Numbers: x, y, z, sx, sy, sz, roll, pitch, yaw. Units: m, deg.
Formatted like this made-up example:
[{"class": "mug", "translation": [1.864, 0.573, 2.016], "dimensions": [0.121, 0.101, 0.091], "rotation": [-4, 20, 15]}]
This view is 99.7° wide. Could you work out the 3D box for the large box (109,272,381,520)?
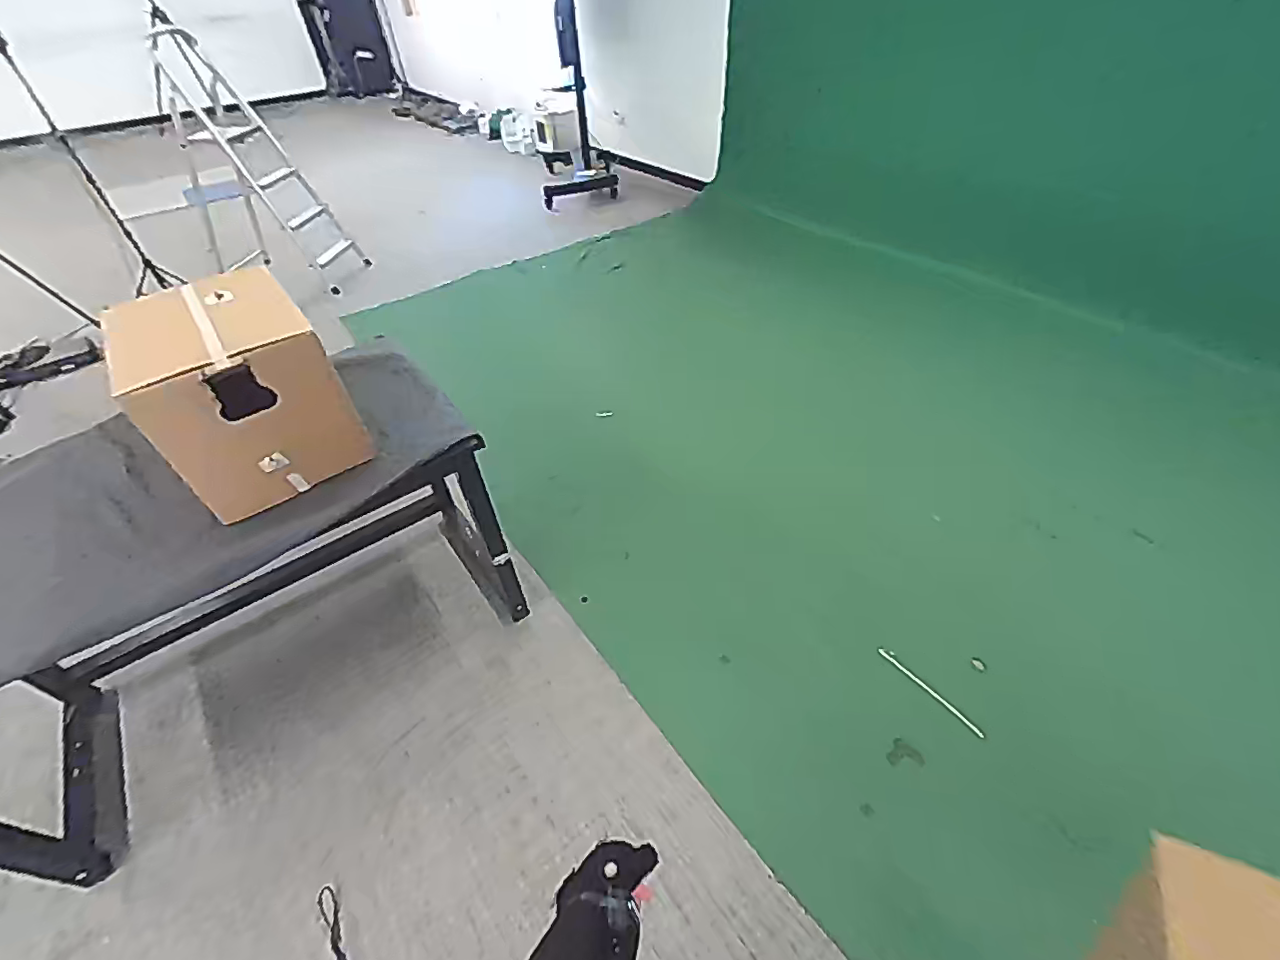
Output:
[{"class": "large box", "translation": [-0.818, -0.189, 1.141], "dimensions": [0.320, 0.320, 0.408], "rotation": [-31, 49, -25]}]
